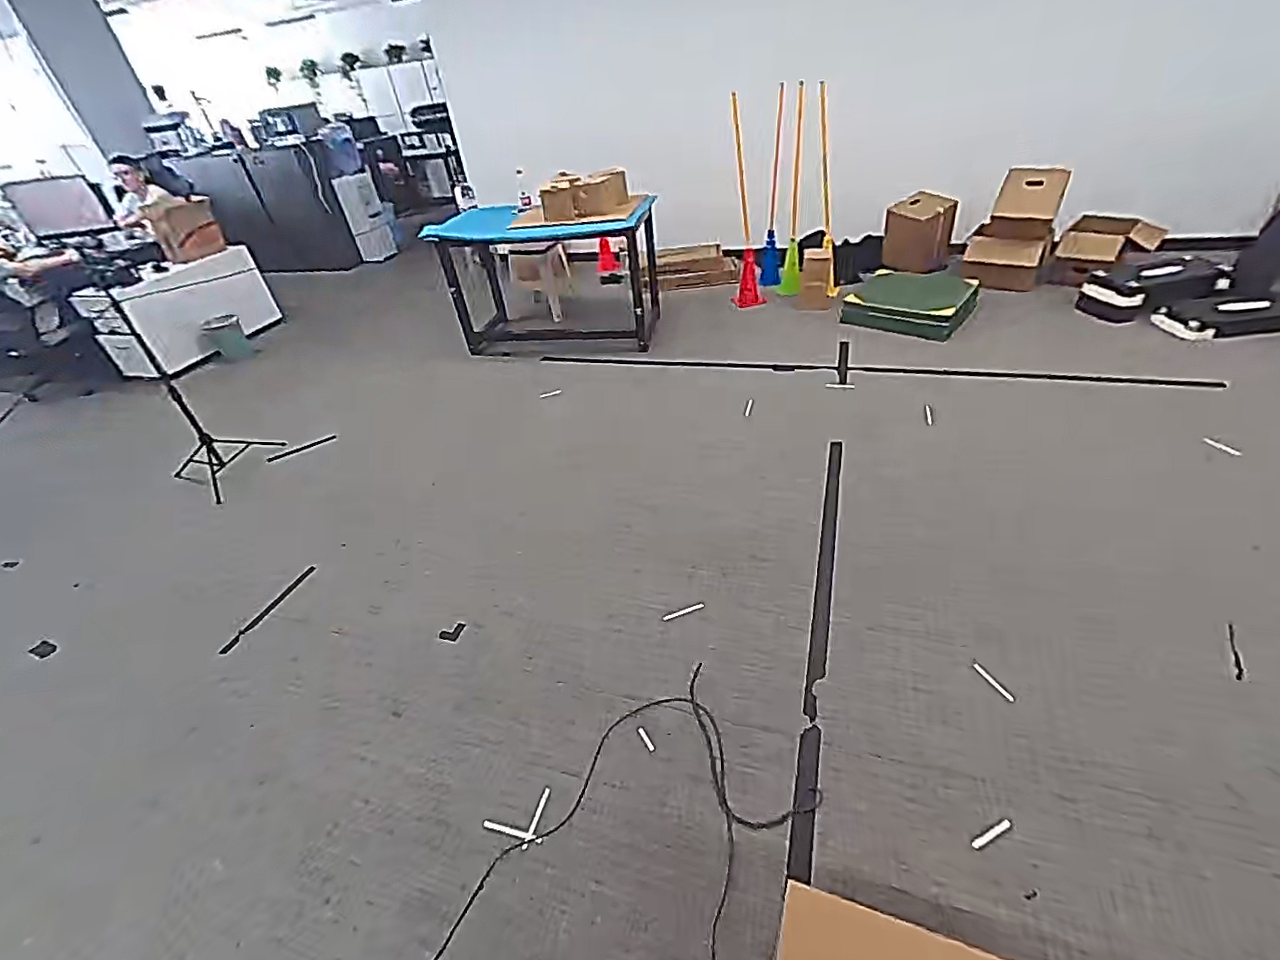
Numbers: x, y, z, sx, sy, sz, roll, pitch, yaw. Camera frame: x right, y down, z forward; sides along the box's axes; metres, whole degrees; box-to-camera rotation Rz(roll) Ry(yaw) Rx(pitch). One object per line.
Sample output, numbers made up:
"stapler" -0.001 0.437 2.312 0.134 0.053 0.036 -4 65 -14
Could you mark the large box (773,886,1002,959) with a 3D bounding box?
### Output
"large box" 0.397 0.912 0.824 0.408 0.320 0.320 8 40 20
